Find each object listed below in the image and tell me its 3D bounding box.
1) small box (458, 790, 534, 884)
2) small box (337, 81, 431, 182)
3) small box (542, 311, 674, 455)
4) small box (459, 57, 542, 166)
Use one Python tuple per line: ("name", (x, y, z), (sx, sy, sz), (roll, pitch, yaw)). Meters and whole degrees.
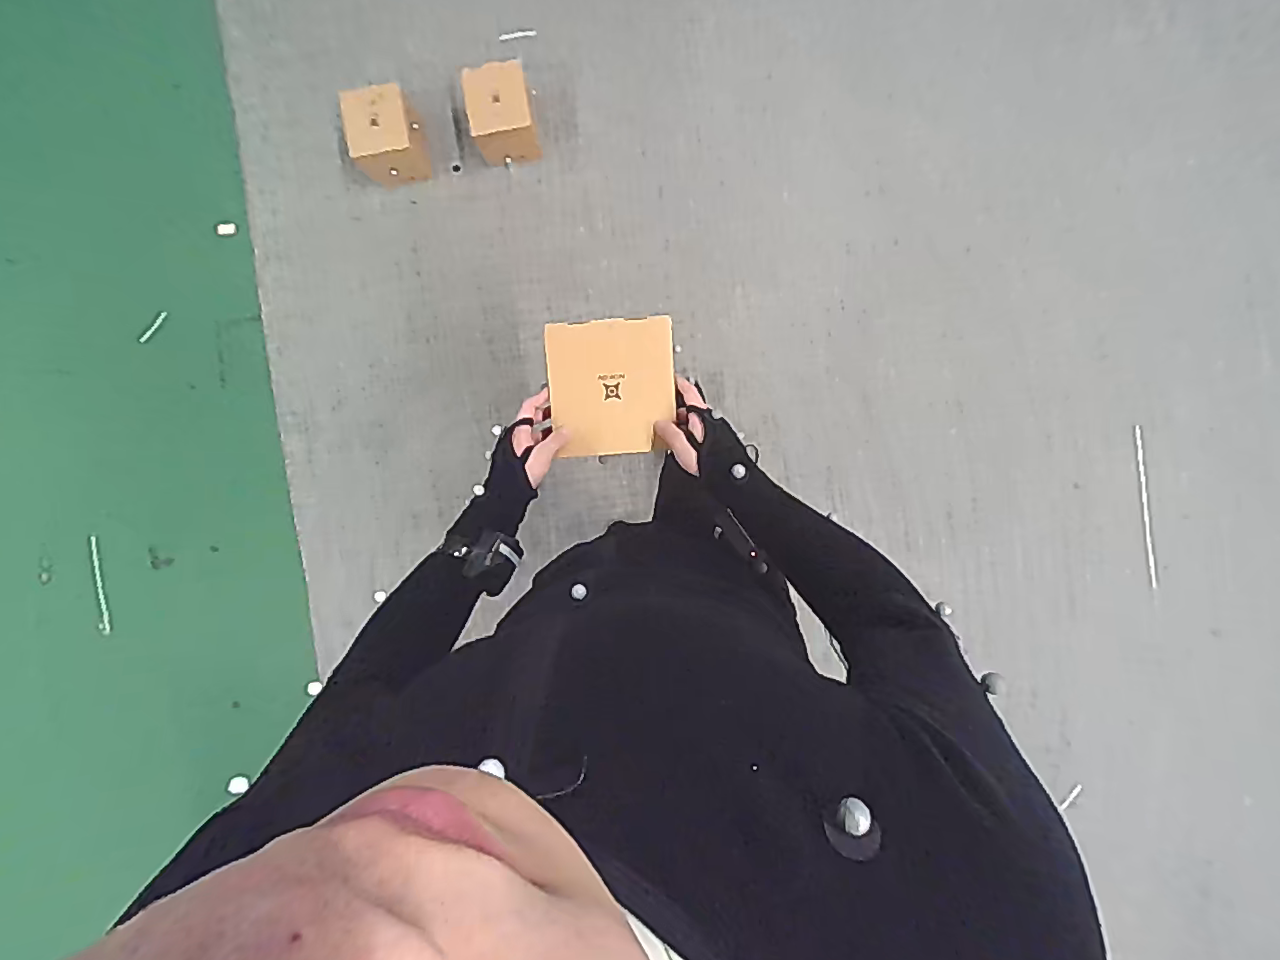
("small box", (-0.415, 1.044, 1.592), (0.179, 0.176, 0.168), (-5, 92, 2))
("small box", (-0.702, -0.956, 1.504), (0.168, 0.176, 0.179), (-9, 92, 2))
("small box", (-0.038, -0.130, 0.771), (0.168, 0.176, 0.179), (-3, 93, 0))
("small box", (-0.379, -1.008, 1.490), (0.168, 0.176, 0.179), (-9, 93, 3))
